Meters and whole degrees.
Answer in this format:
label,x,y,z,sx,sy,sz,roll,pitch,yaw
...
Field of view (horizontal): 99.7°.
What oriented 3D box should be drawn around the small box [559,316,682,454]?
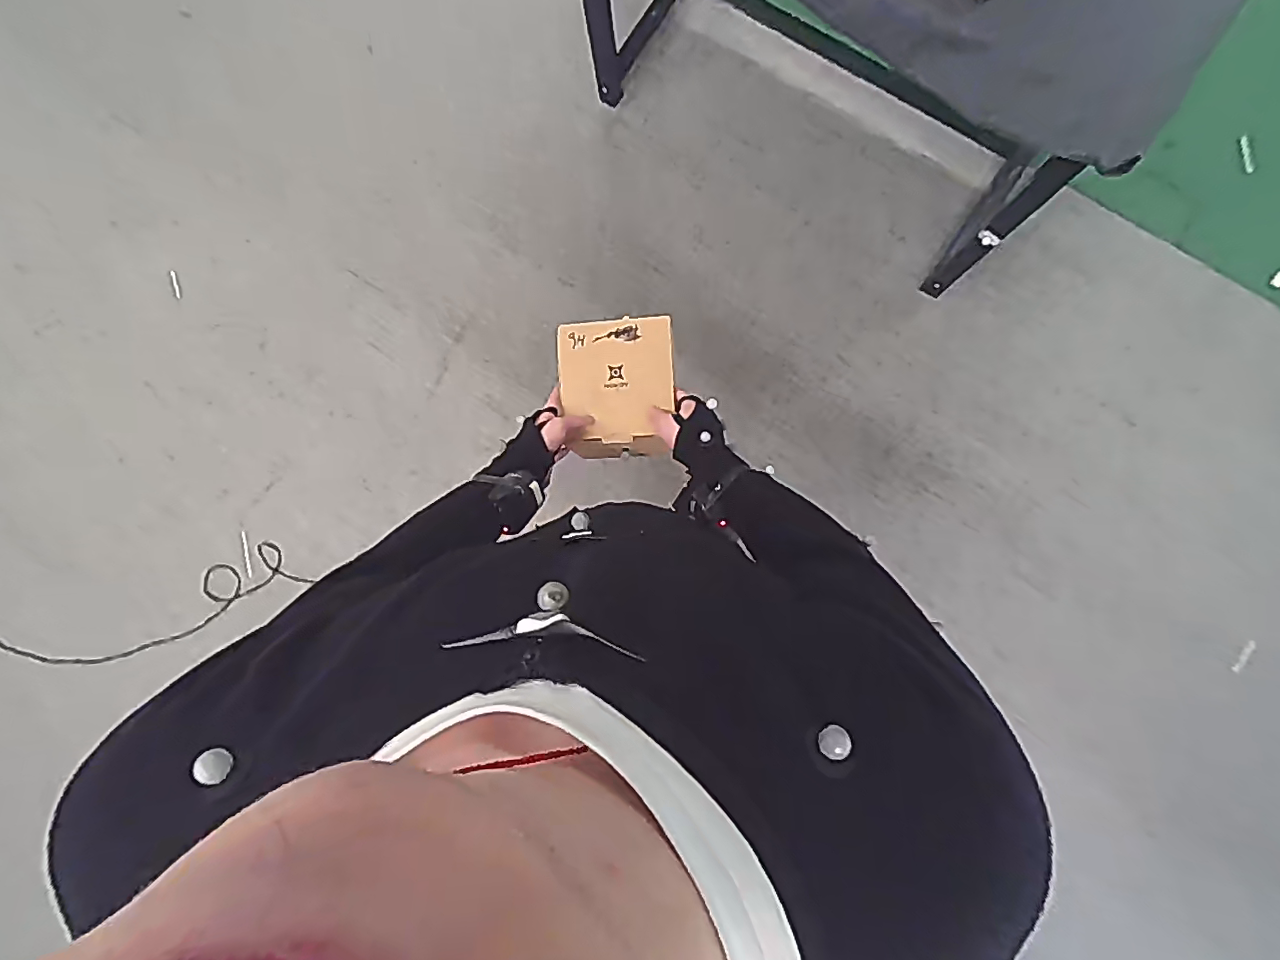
label,x,y,z,sx,sy,sz,roll,pitch,yaw
small box,-0.023,-0.139,0.864,0.168,0.176,0.179,-6,84,5
